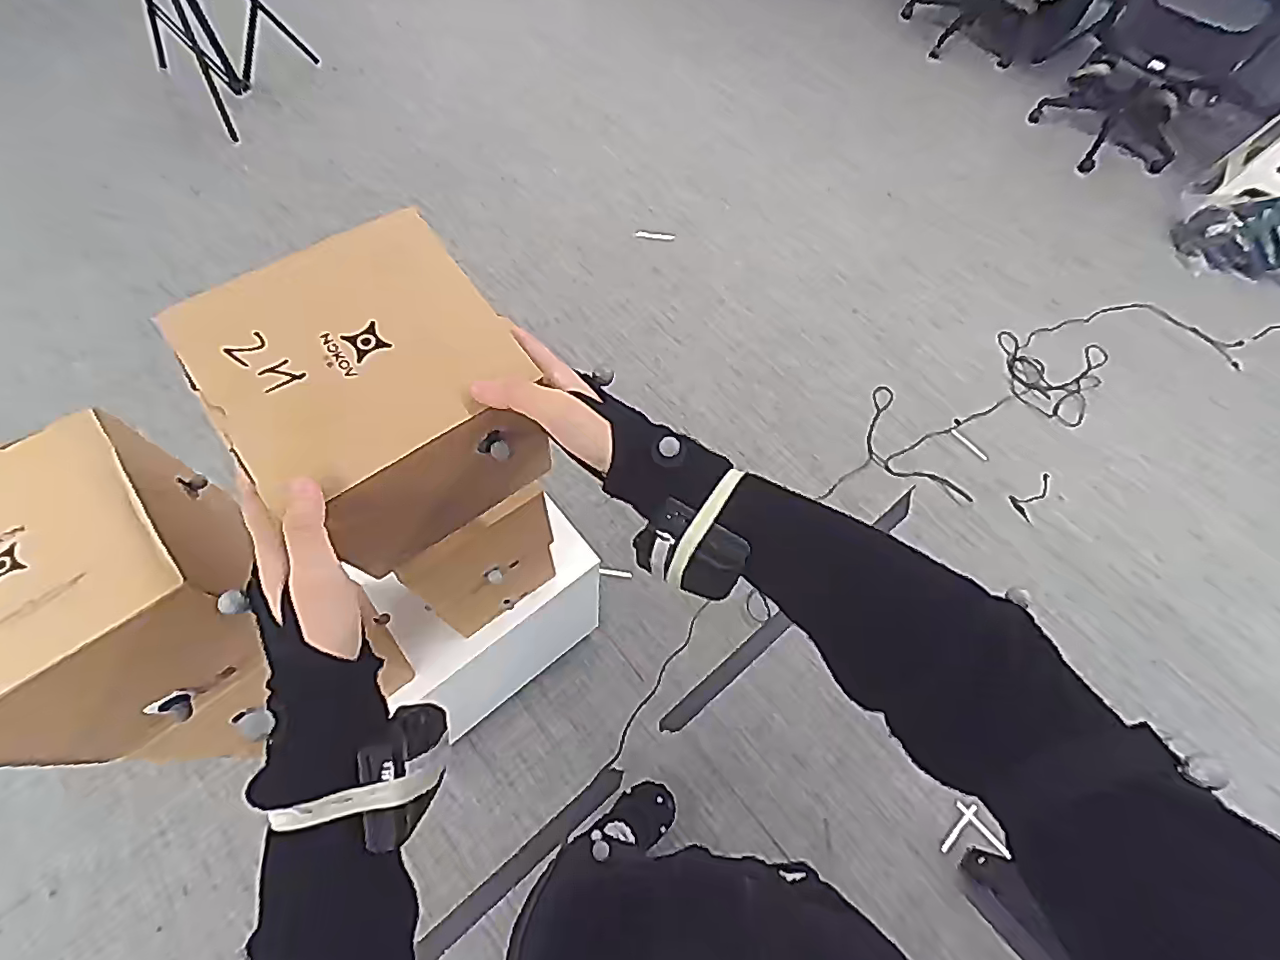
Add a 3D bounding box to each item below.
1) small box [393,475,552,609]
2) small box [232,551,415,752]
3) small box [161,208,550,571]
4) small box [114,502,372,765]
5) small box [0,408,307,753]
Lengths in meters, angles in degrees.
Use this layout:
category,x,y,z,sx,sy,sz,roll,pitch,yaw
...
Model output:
category,x,y,z,sx,sy,sz,roll,pitch,yaw
small box,-0.220,0.026,0.635,0.168,0.176,0.179,-34,72,-18
small box,-0.428,0.228,0.704,0.168,0.176,0.179,-36,71,-18
small box,-0.184,-0.055,0.409,0.179,0.176,0.168,-34,77,-17
small box,-0.415,0.159,0.558,0.168,0.176,0.179,-37,72,-19
small box,-0.404,0.086,0.413,0.168,0.176,0.179,-38,73,-19
